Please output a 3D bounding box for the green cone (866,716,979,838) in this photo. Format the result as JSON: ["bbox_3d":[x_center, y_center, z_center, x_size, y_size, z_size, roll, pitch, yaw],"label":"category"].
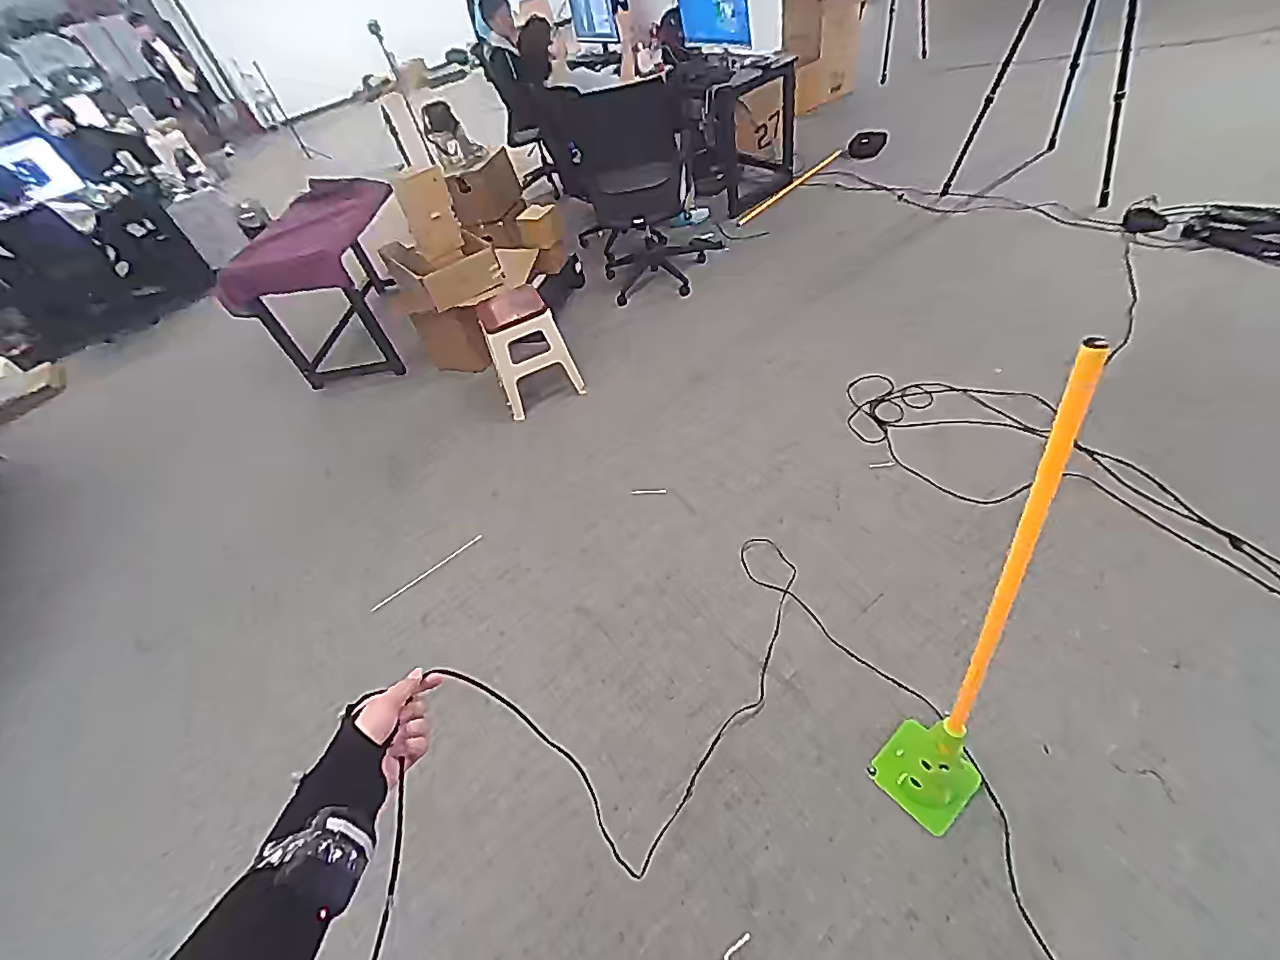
[{"bbox_3d":[0.667,0.619,1.211,0.202,0.368,0.200,-37,51,-20],"label":"green cone"}]
